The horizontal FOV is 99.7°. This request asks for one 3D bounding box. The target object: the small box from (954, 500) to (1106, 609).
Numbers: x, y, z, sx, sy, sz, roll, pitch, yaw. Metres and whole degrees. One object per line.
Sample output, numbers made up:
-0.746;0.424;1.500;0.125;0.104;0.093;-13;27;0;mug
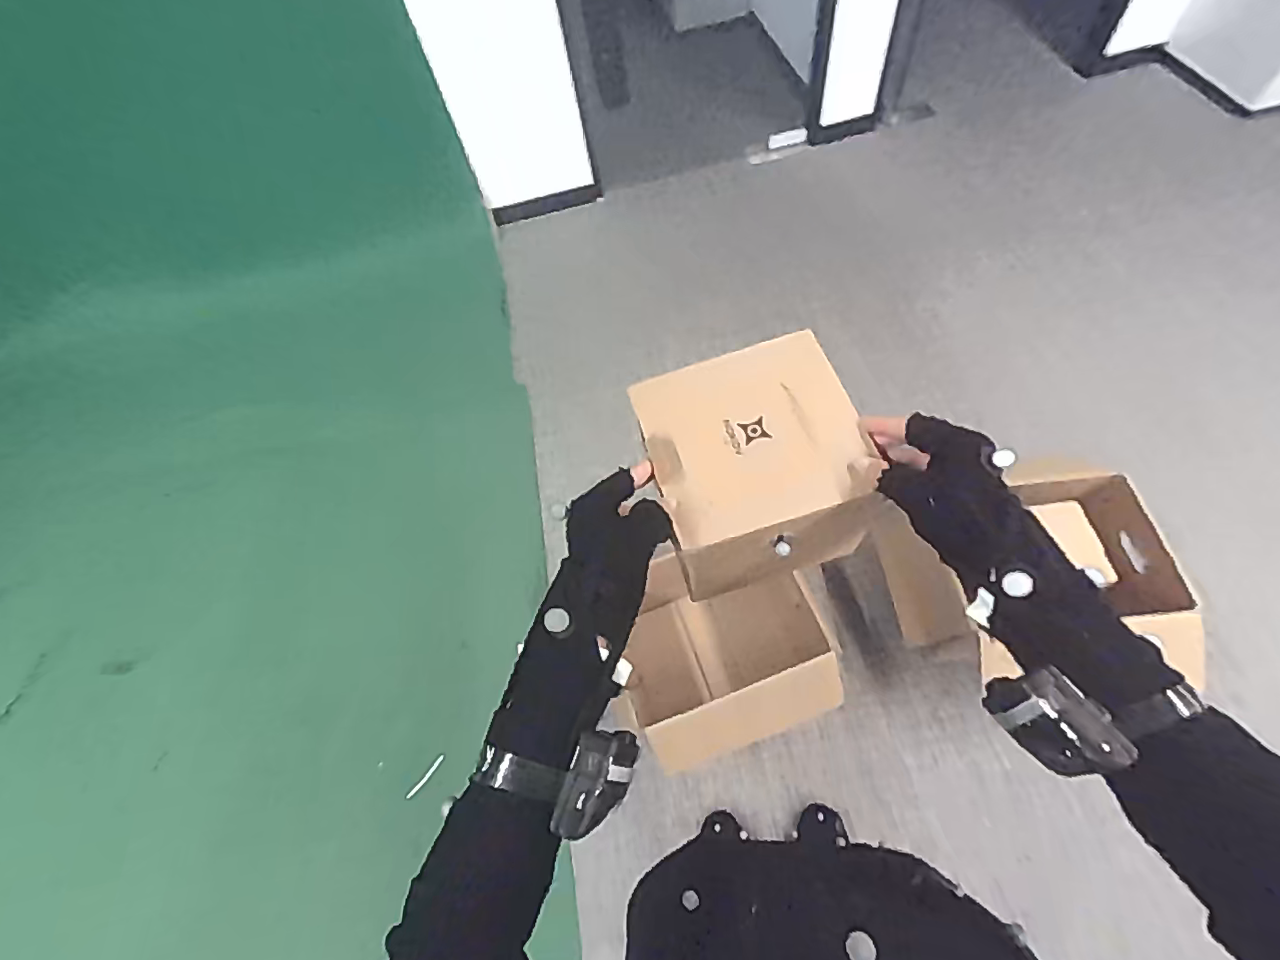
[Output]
0.798;0.160;1.128;0.179;0.176;0.168;-8;59;6;small box
